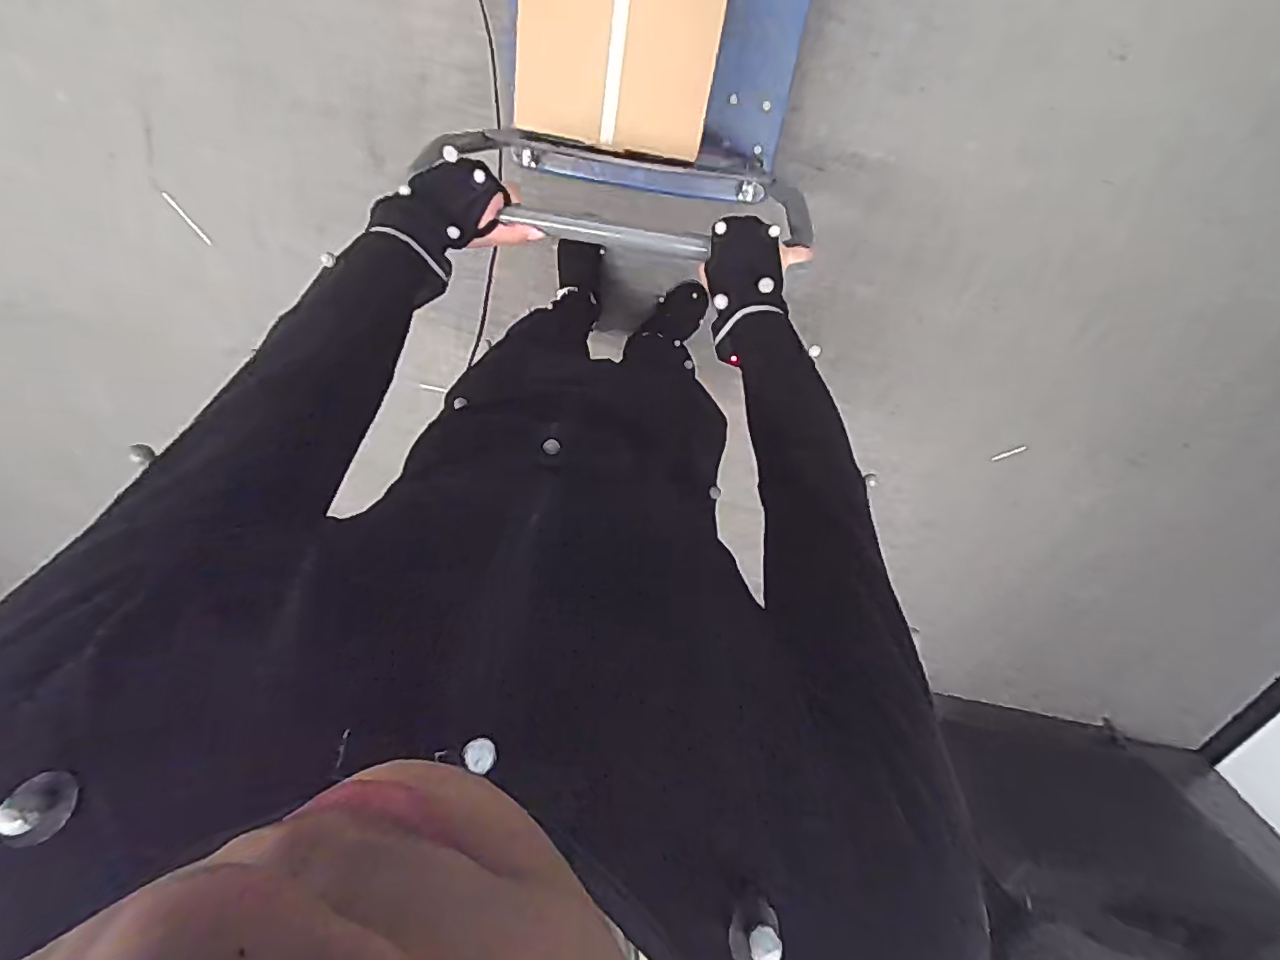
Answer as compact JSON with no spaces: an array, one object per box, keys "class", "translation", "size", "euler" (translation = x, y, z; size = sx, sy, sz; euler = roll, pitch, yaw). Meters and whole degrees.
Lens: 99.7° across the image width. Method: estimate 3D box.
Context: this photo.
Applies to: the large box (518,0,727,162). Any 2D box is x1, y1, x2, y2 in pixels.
[{"class":"large box","translation":[-0.015,-0.808,0.939],"size":[0.320,0.320,0.408],"euler":[9,119,-2]}]
